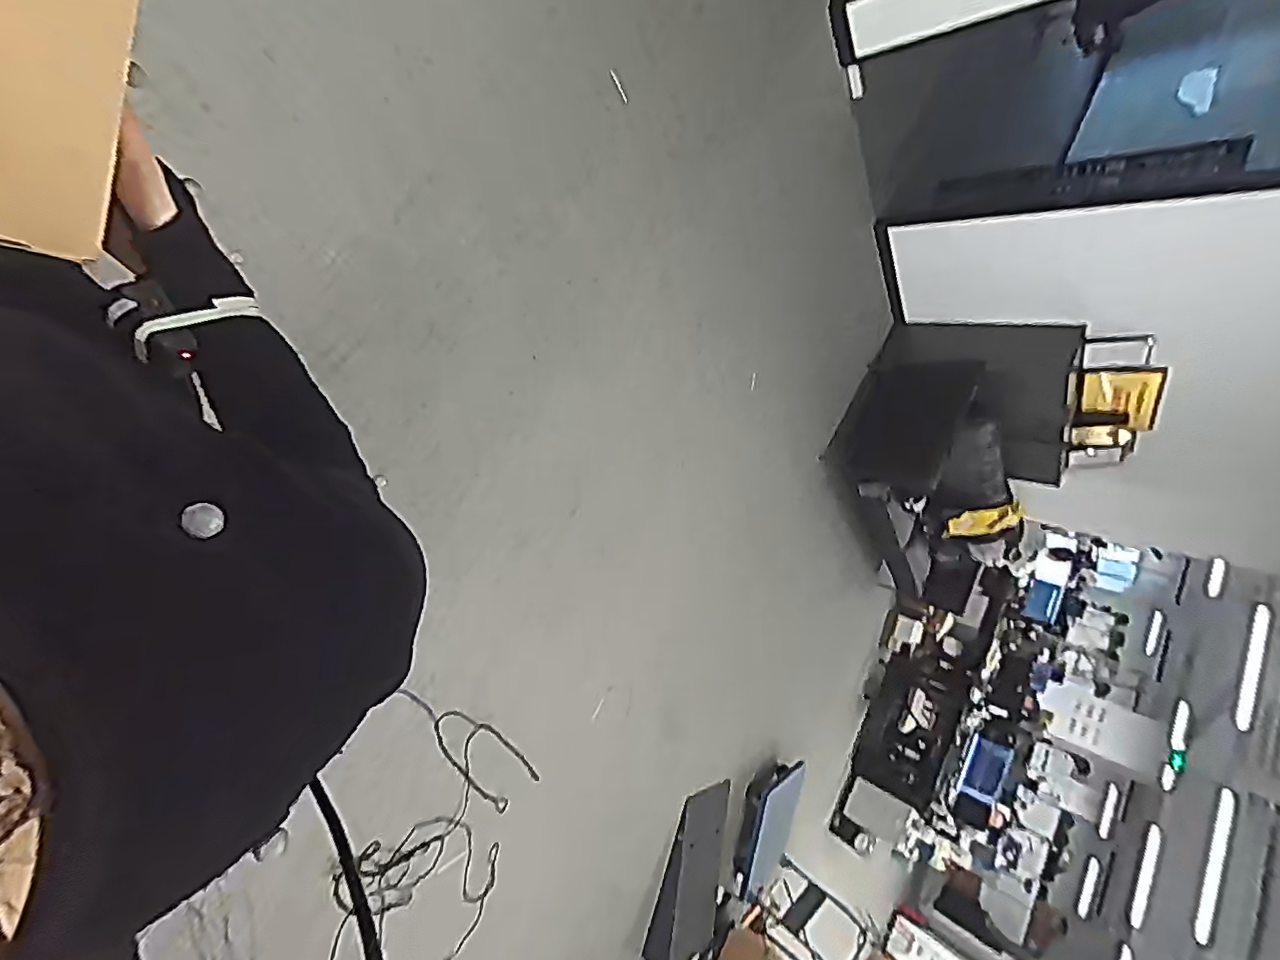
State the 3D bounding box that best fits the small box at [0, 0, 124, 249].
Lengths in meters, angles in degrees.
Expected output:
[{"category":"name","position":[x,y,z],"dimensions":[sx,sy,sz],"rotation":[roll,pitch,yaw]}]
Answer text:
[{"category":"small box","position":[-0.438,-0.261,0.305],"dimensions":[0.168,0.176,0.179],"rotation":[4,108,-58]}]
